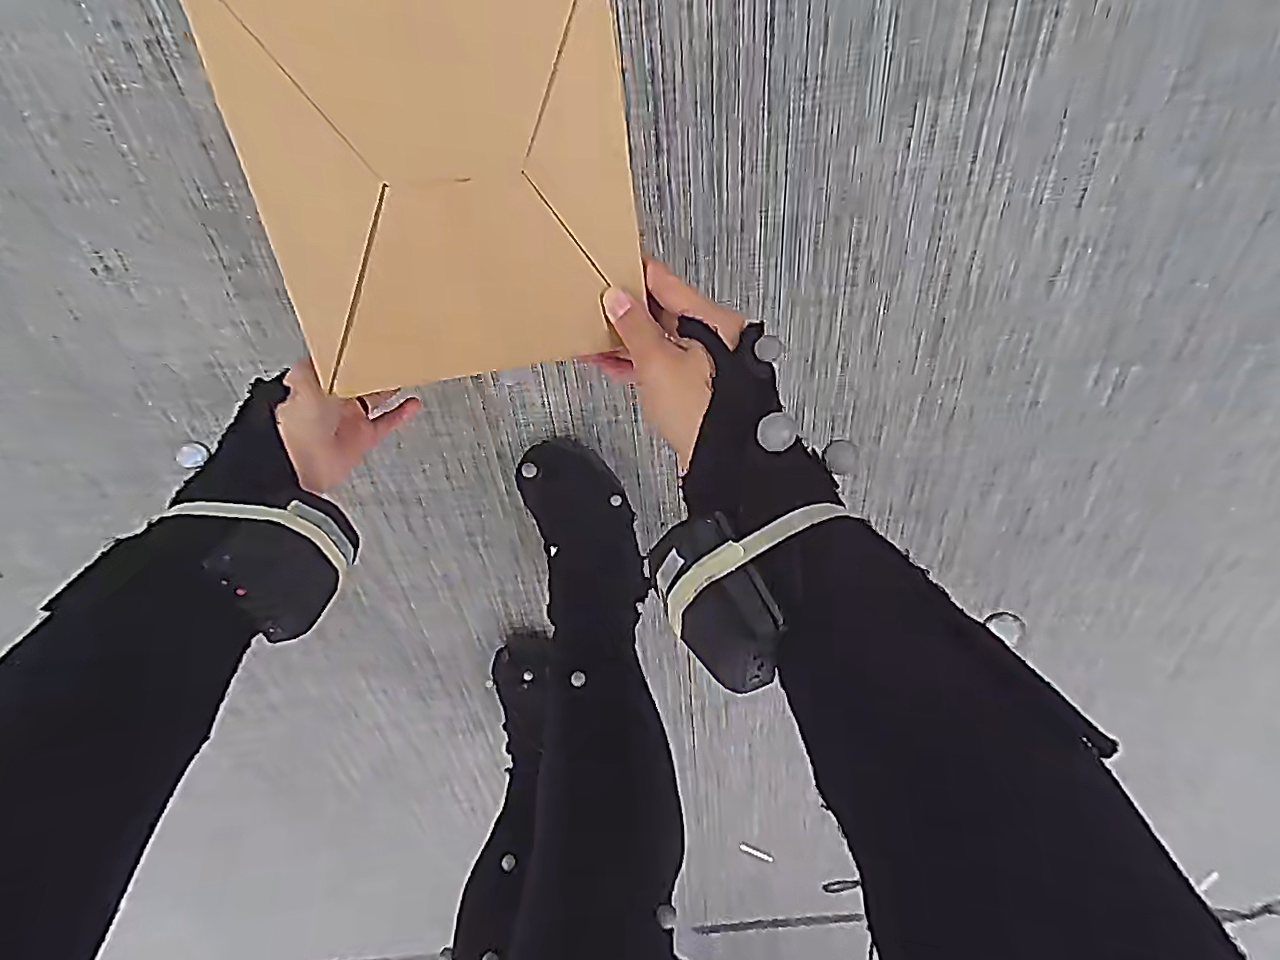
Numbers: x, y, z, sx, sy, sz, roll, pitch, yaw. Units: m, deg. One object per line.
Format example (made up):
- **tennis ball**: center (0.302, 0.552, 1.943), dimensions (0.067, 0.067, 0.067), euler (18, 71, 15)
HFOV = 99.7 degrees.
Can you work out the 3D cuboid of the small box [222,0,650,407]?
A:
- **small box**: center (-0.101, -0.157, 0.318), dimensions (0.168, 0.176, 0.179), euler (-13, 112, -12)
